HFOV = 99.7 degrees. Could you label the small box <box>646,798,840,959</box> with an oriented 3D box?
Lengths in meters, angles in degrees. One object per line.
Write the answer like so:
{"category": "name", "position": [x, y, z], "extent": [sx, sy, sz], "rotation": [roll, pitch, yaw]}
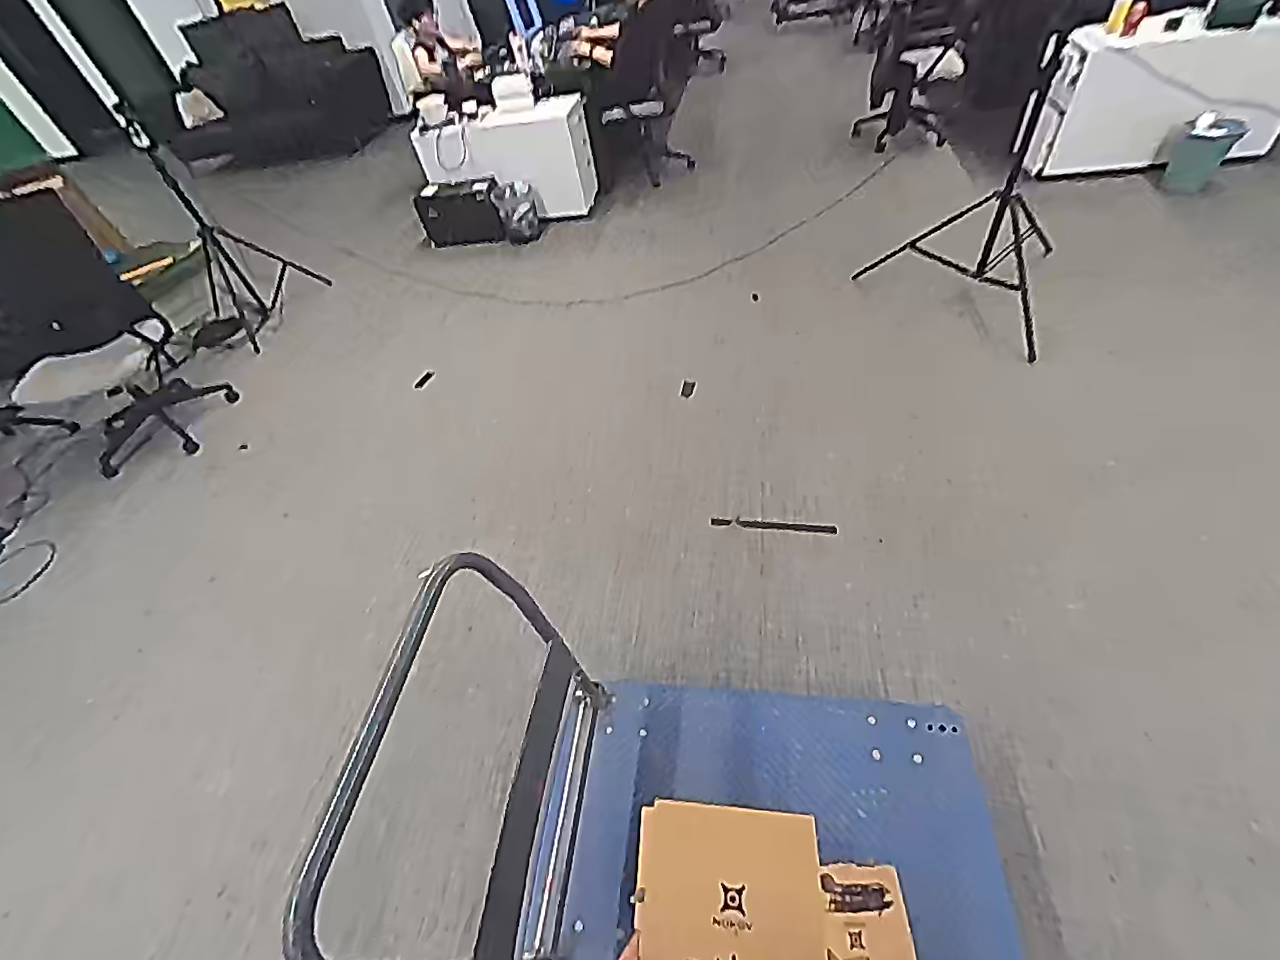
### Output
{"category": "small box", "position": [0.100, 0.448, 0.534], "extent": [0.168, 0.176, 0.179], "rotation": [-1, 40, 11]}

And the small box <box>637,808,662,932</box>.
{"category": "small box", "position": [0.091, 0.713, 0.974], "extent": [0.168, 0.176, 0.179], "rotation": [-2, 49, 9]}
